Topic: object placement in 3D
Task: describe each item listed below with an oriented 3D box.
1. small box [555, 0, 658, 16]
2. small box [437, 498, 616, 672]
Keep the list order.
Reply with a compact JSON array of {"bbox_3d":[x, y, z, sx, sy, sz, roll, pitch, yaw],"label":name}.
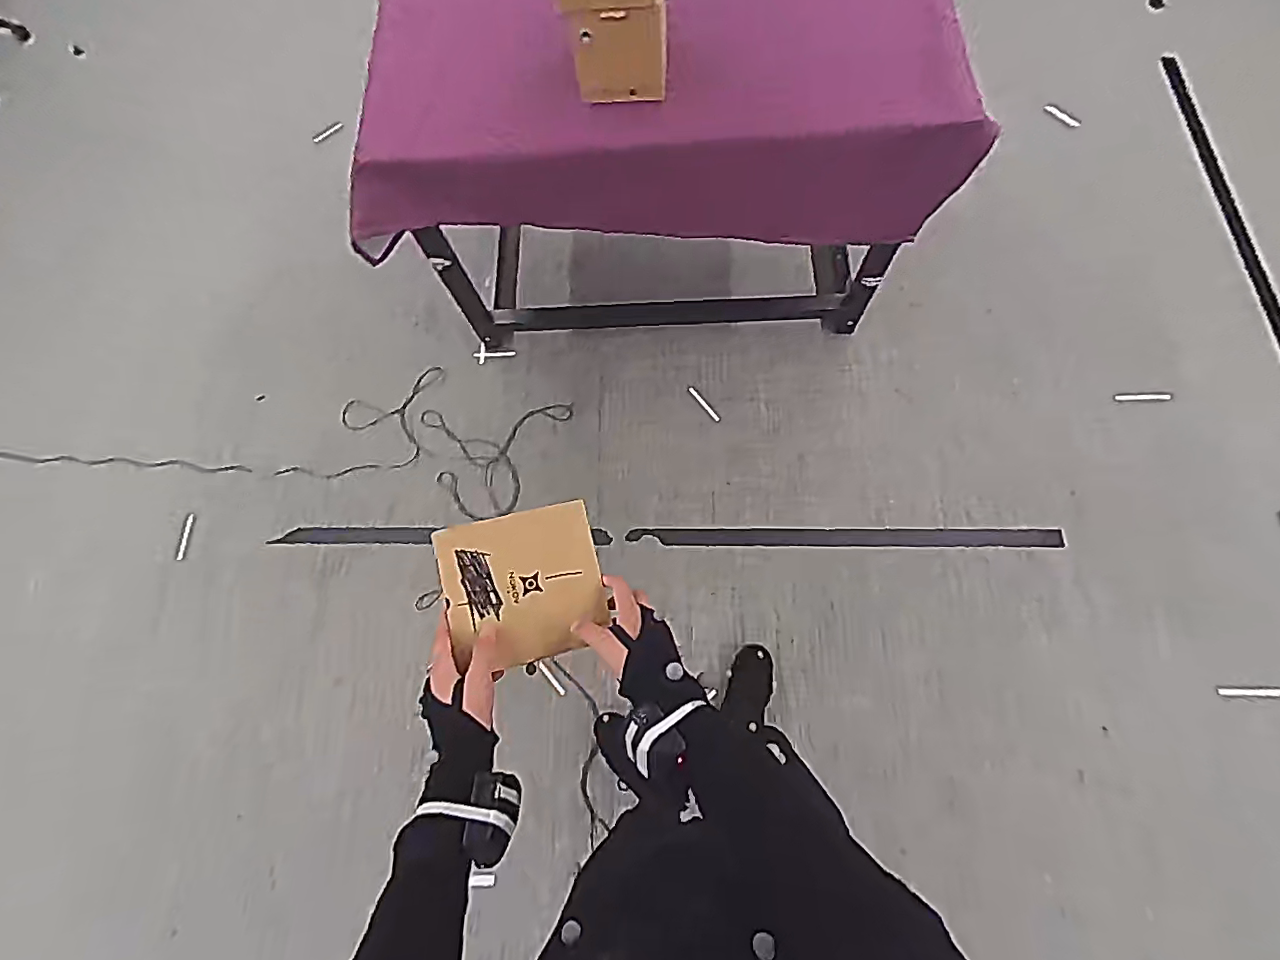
[{"bbox_3d":[-0.059,-0.891,0.869,0.179,0.176,0.168,1,72,5],"label":"small box"},{"bbox_3d":[-0.137,0.137,0.678,0.179,0.176,0.168,-12,74,-12],"label":"small box"}]
